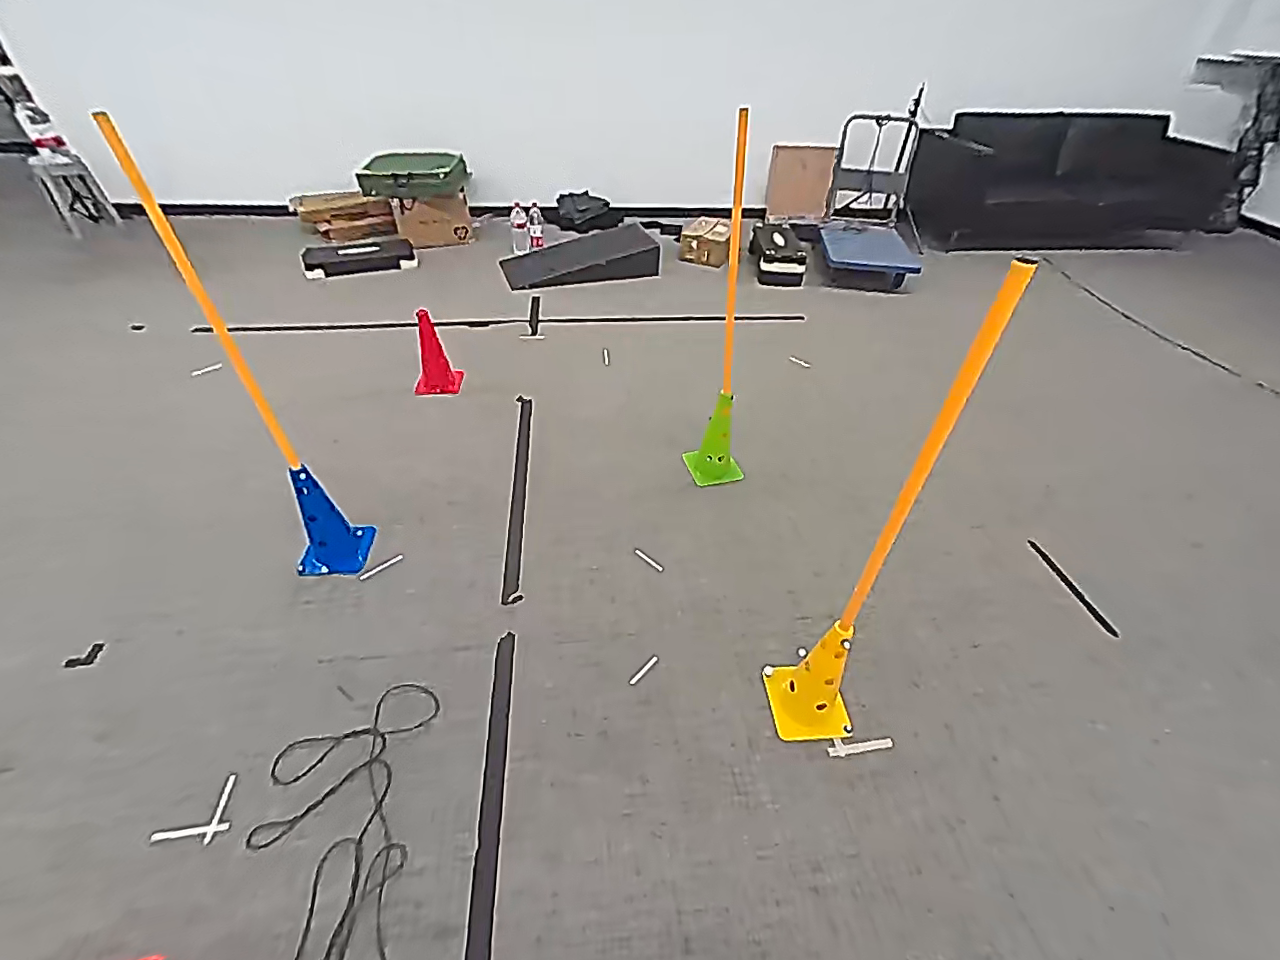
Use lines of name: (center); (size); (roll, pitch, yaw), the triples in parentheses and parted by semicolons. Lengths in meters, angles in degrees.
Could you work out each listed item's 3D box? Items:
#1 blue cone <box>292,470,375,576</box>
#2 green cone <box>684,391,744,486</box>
blue cone: (-0.973, 0.115, 1.657); (0.193, 0.380, 0.192); (-1, 42, -4)
green cone: (0.301, -0.178, 2.047); (0.200, 0.368, 0.202); (-10, 45, -14)
